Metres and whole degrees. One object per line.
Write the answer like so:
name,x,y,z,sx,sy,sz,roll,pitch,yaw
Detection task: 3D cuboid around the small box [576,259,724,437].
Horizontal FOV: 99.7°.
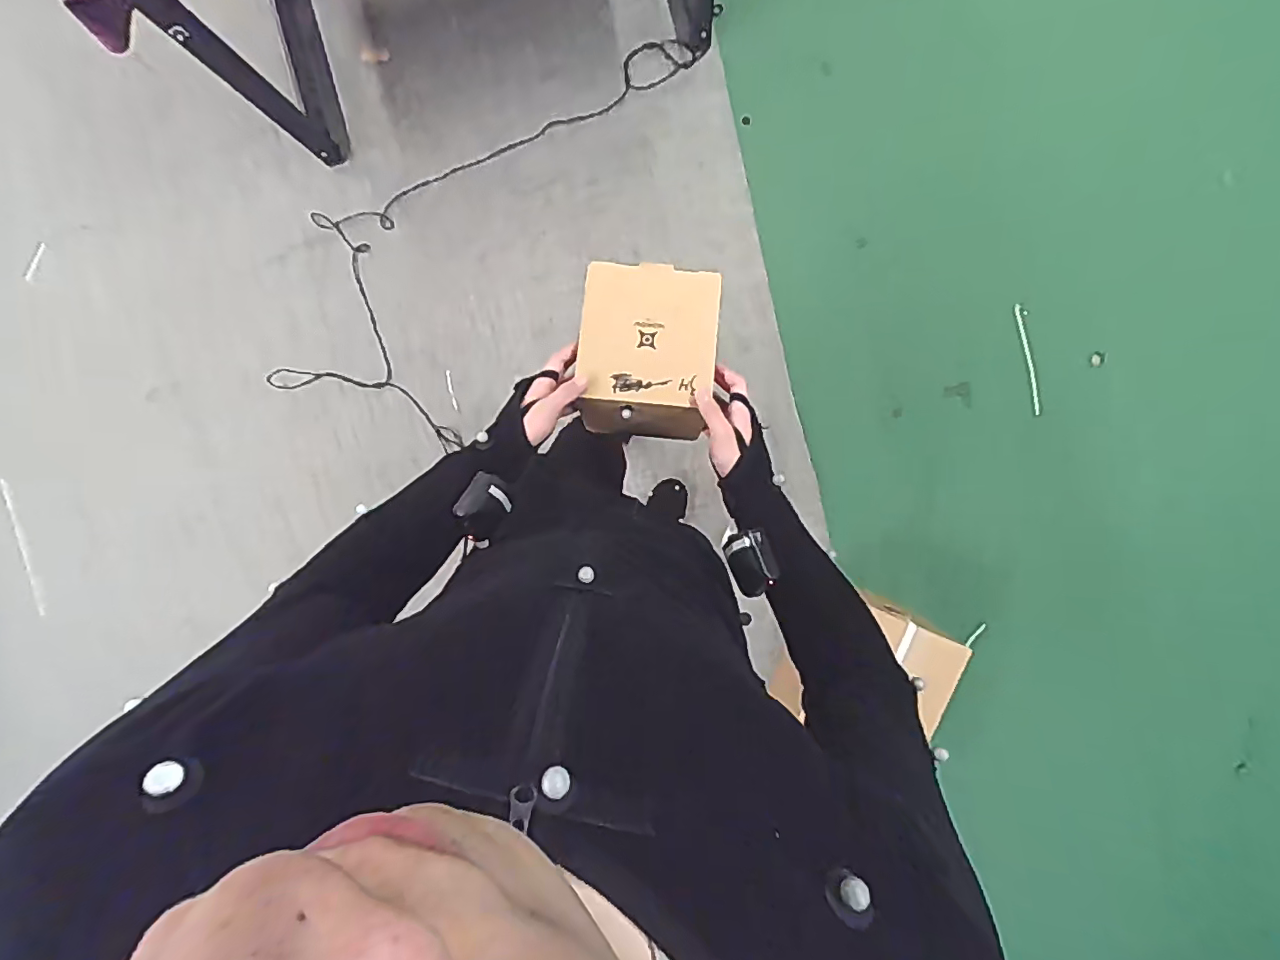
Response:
small box,0.013,-0.166,0.725,0.168,0.176,0.179,5,83,1
